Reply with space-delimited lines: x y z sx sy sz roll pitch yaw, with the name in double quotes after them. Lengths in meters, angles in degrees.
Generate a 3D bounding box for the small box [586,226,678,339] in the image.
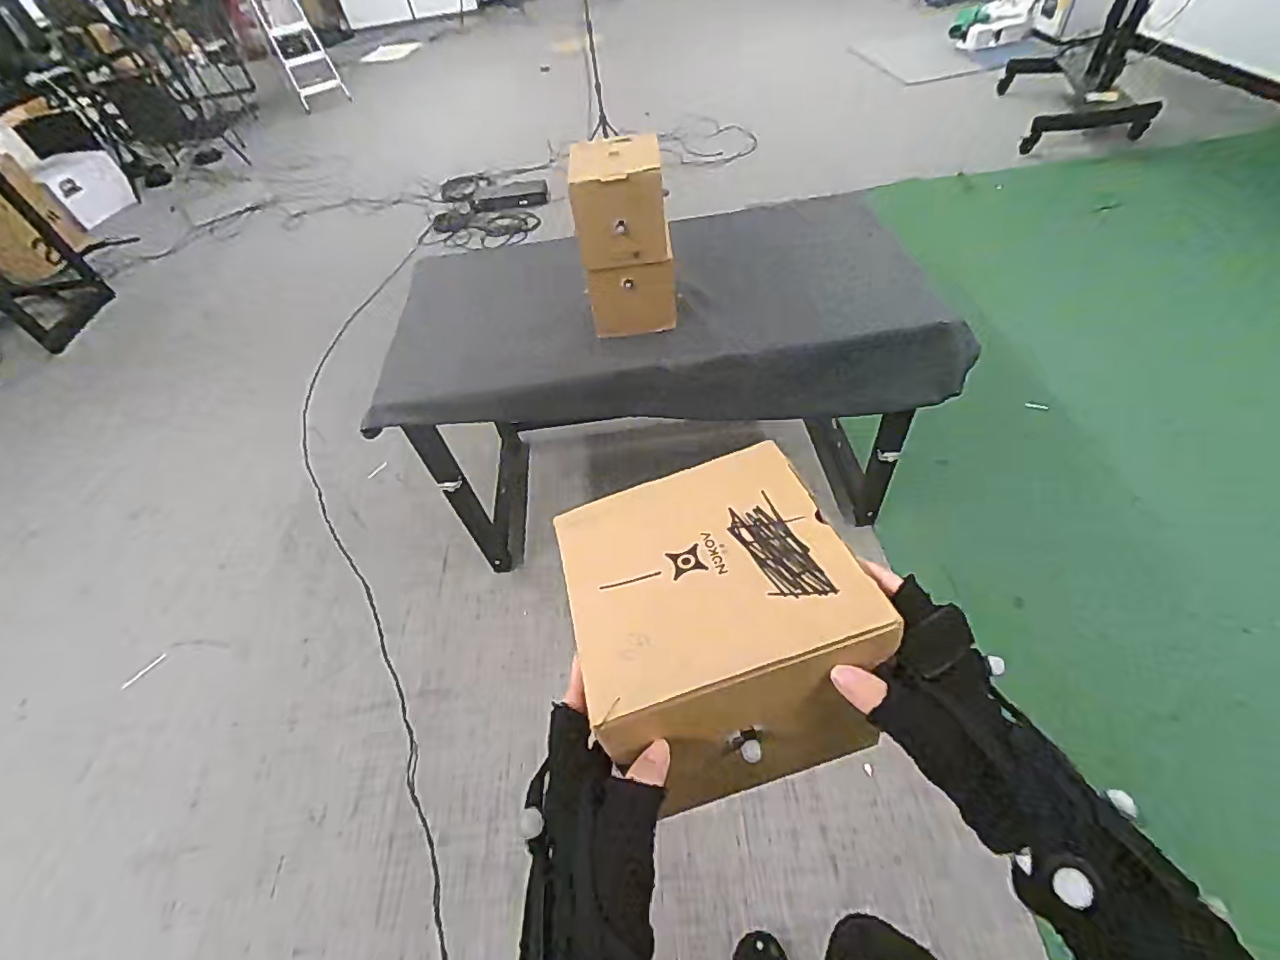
-0.014 -0.424 1.173 0.179 0.176 0.168 -5 51 3 "small box"

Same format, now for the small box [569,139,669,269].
-0.036 -0.525 1.045 0.168 0.176 0.179 -6 51 4 "small box"

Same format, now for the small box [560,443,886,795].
0.055 0.106 0.411 0.179 0.176 0.168 -19 42 -1 "small box"
